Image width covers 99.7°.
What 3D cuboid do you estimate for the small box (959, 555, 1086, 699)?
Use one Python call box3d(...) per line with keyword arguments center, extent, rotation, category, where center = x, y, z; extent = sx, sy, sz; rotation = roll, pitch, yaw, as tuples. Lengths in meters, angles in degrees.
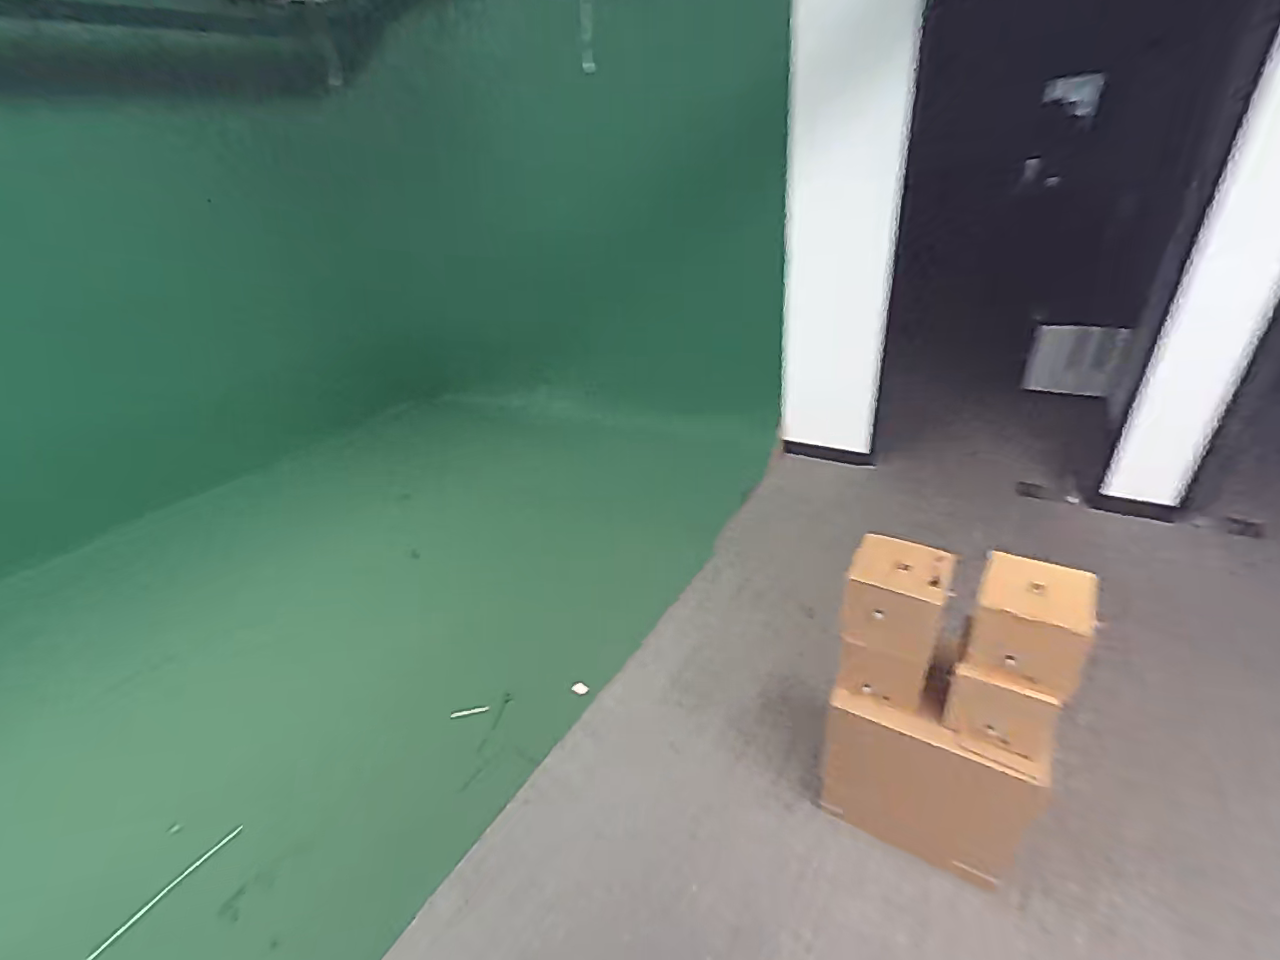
box3d(center=(0.737, 0.279, 1.048), extent=(0.168, 0.176, 0.179), rotation=(15, 36, 34), category="small box")
